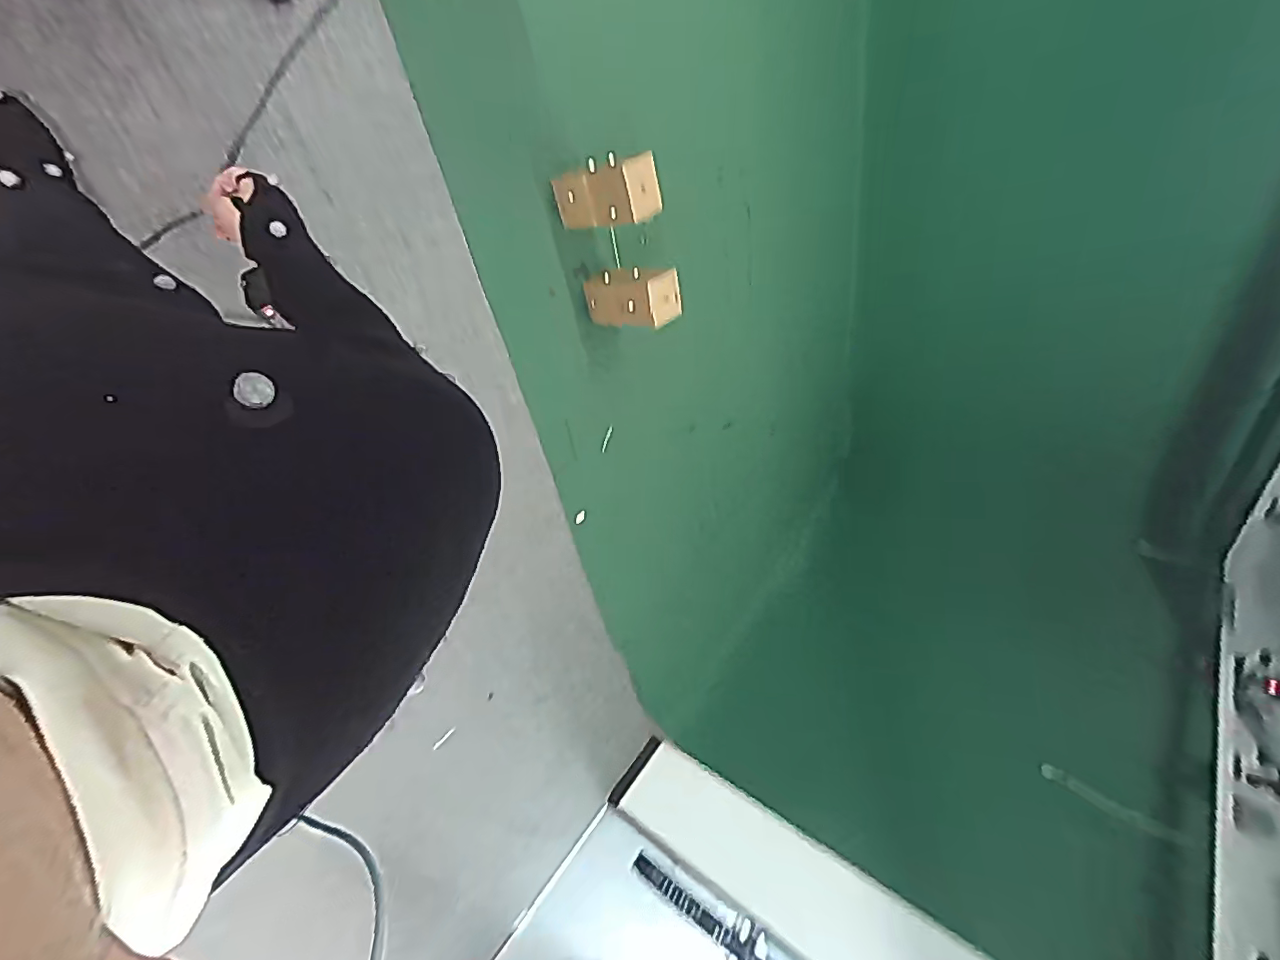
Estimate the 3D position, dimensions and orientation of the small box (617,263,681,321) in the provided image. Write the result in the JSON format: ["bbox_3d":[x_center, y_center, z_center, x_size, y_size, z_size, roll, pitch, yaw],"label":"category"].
[{"bbox_3d":[0.030,-0.717,2.052,0.179,0.176,0.168,-39,133,-34],"label":"small box"}]

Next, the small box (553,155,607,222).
[{"bbox_3d":[-0.189,-1.034,1.923,0.179,0.176,0.168,-45,135,-32],"label":"small box"}]

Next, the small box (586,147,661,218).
[{"bbox_3d":[-0.055,-1.004,1.834,0.168,0.176,0.179,-45,135,-33],"label":"small box"}]
